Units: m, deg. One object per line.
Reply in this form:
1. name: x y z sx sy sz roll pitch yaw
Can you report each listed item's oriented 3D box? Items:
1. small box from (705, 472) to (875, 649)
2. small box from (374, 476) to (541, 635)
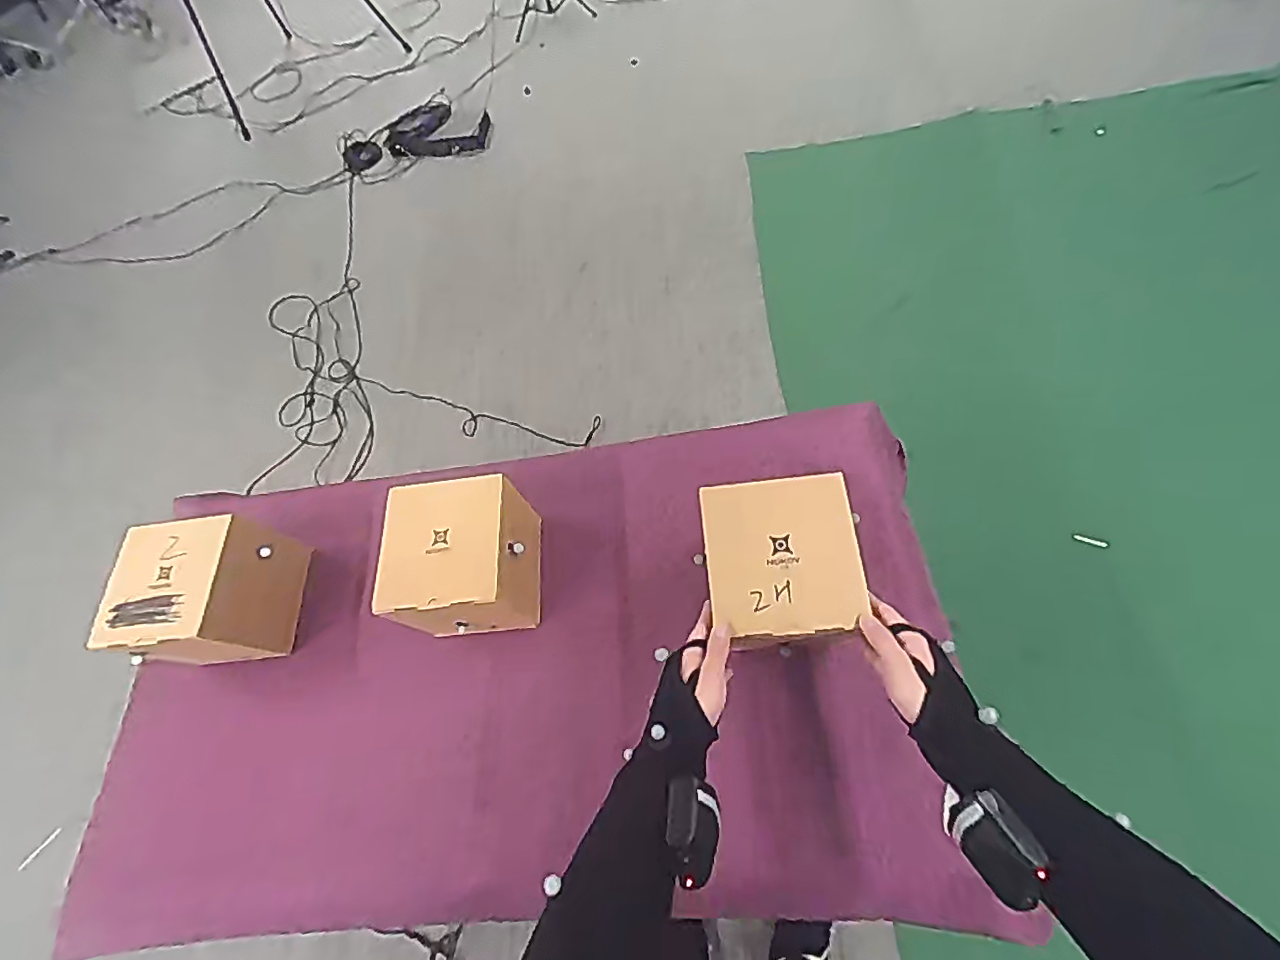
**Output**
1. small box: 0.171 0.107 0.669 0.168 0.176 0.179 -6 68 8
2. small box: -0.244 0.114 0.771 0.168 0.176 0.179 -7 64 6
